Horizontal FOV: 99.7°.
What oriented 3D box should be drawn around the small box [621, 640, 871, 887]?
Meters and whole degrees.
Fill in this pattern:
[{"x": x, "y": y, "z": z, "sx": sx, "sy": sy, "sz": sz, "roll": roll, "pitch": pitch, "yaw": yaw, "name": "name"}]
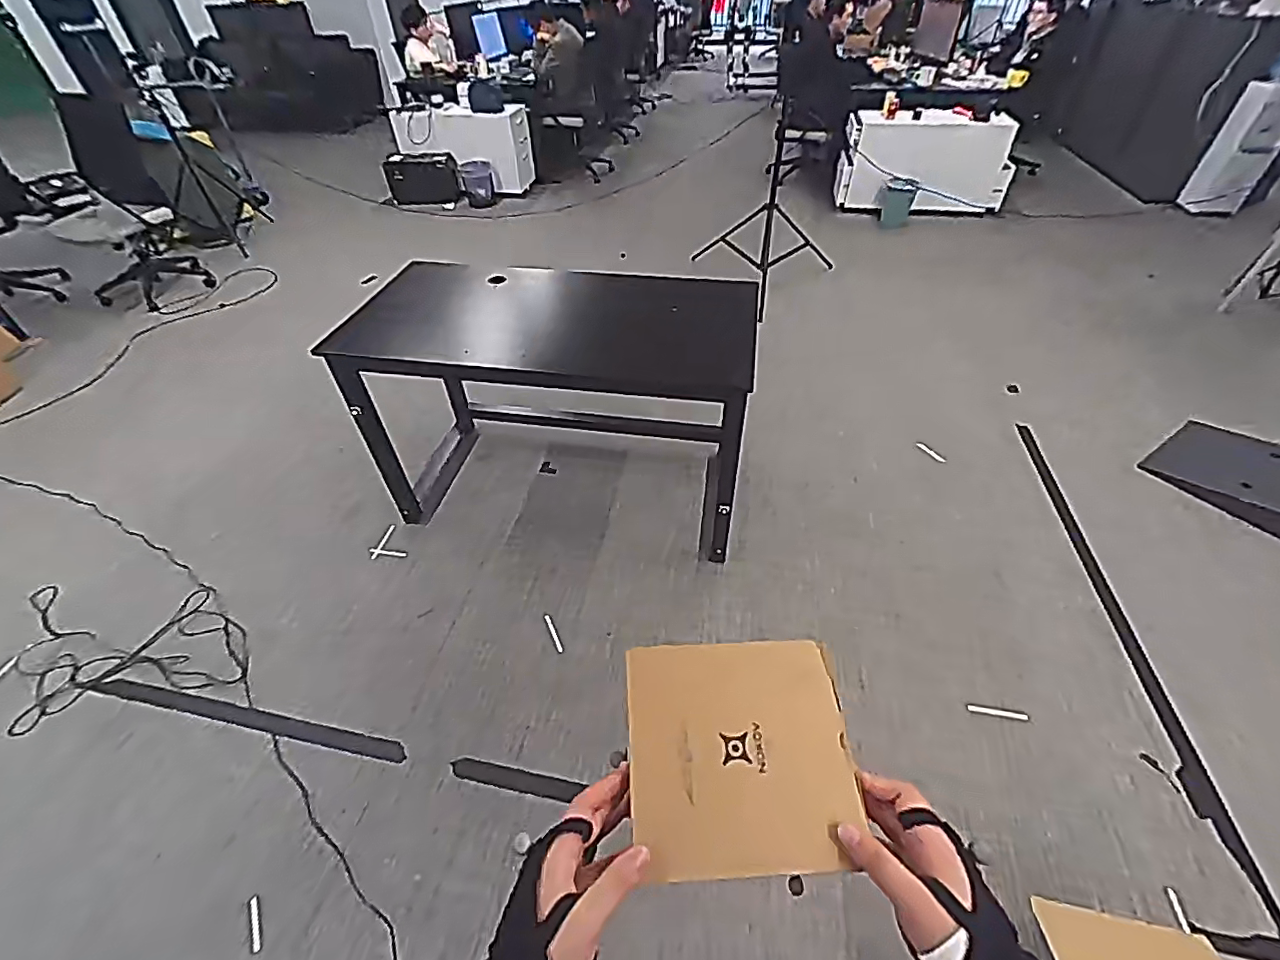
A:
[{"x": 0.074, "y": 0.256, "z": 0.489, "sx": 0.179, "sy": 0.176, "sz": 0.168, "roll": -4, "pitch": 54, "yaw": -2, "name": "small box"}]
